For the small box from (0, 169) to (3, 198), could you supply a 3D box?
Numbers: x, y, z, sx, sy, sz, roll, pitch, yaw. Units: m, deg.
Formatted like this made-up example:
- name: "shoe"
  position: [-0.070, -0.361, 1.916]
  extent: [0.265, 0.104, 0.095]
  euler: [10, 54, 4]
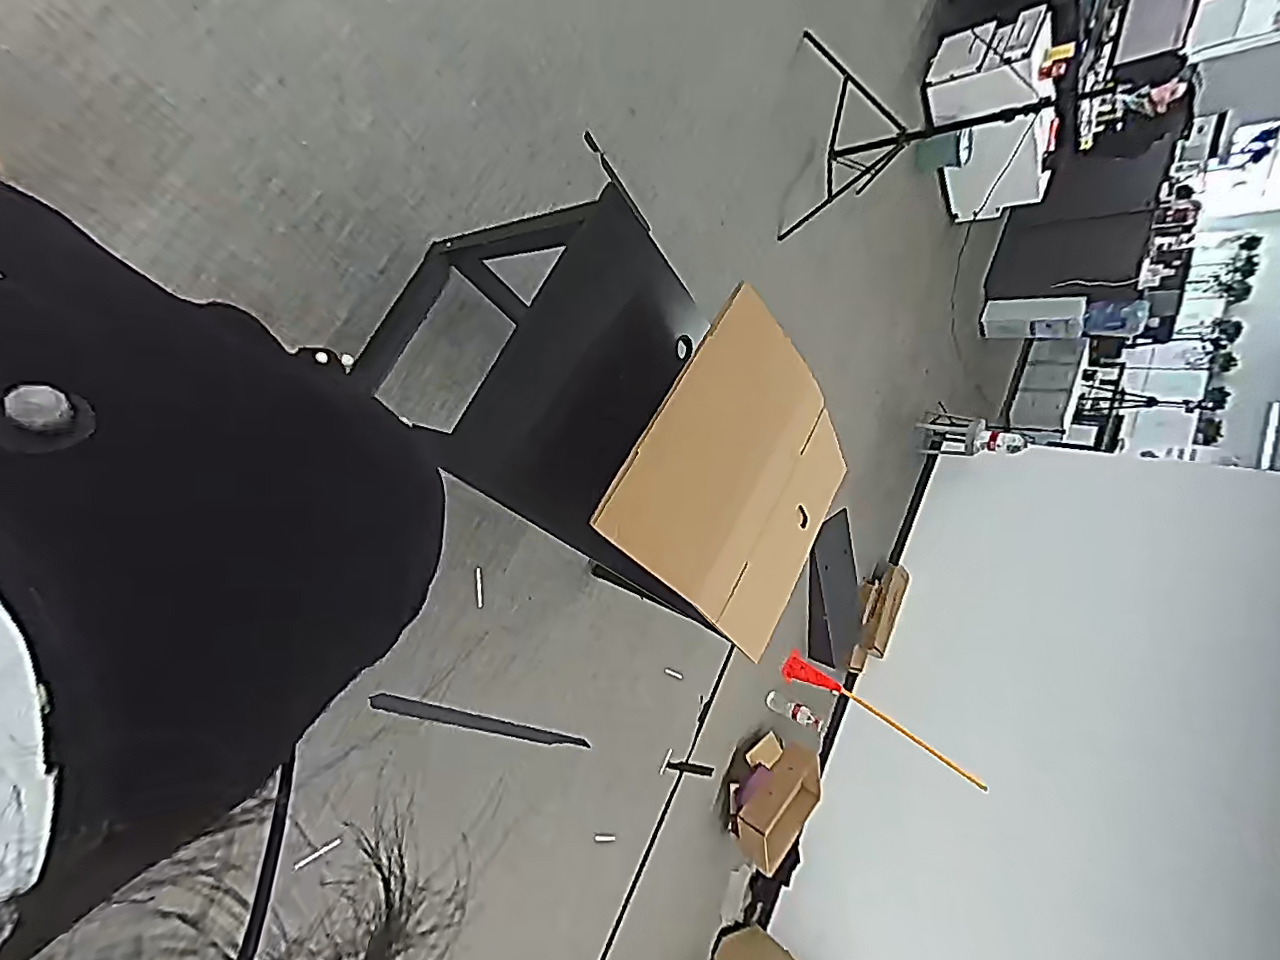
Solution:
- name: "small box"
  position: [-1.138, -0.457, 0.825]
  extent: [0.168, 0.176, 0.179]
  euler: [35, 75, -45]
